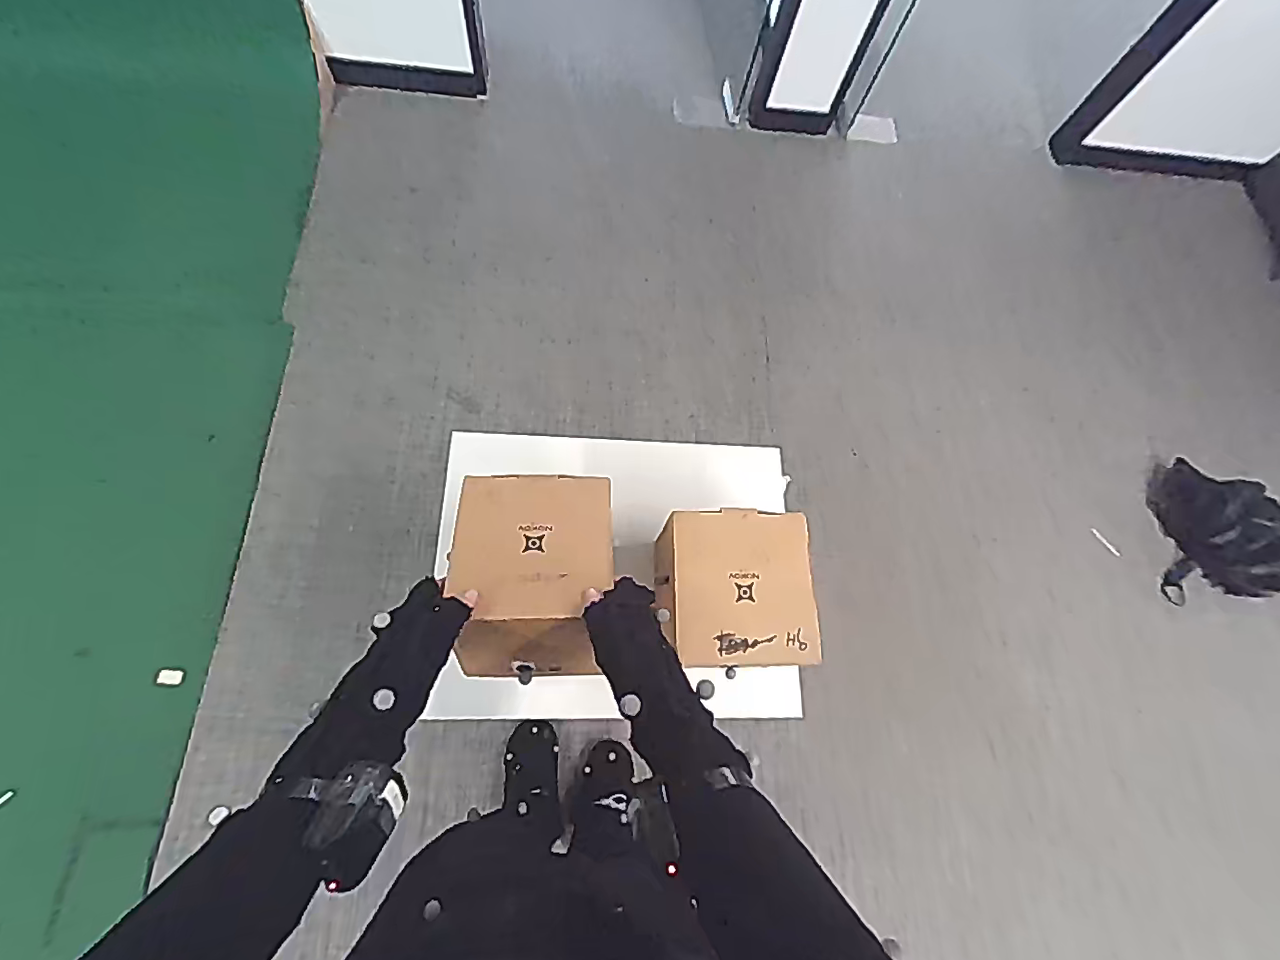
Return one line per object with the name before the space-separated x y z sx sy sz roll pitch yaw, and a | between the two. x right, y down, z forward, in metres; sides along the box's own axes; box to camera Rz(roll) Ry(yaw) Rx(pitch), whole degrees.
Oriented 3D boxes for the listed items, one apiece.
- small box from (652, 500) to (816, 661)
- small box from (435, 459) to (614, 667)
small box | 0.107 0.137 0.696 0.168 0.176 0.179 2 70 -6
small box | -0.118 0.095 0.610 0.168 0.176 0.179 -1 53 -6
